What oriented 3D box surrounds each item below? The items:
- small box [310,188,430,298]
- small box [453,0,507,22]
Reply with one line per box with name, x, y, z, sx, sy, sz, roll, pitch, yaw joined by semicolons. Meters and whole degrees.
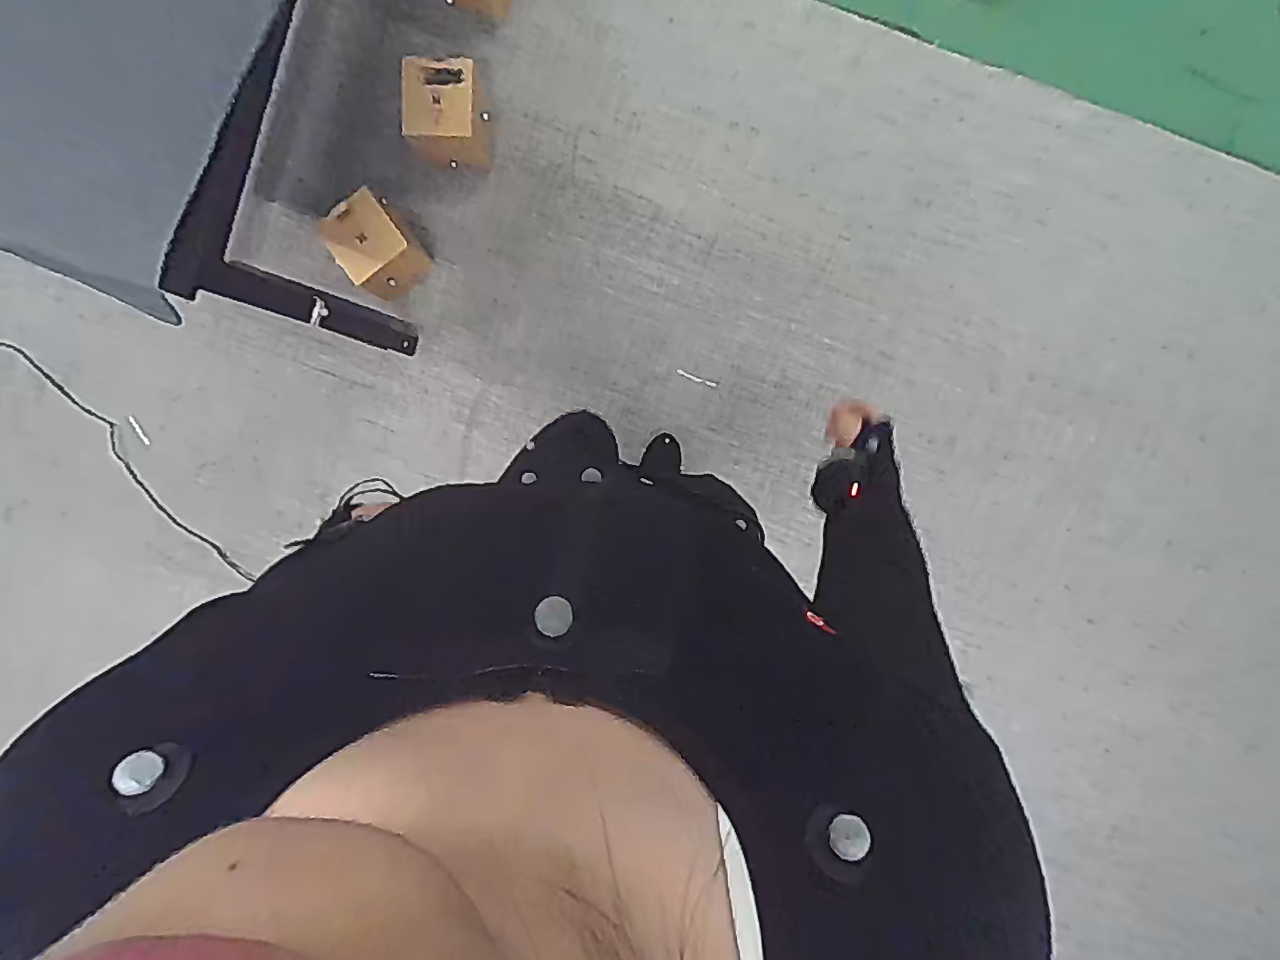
small box;-0.664;-0.579;1.357;0.168;0.176;0.179;-37;93;4
small box;-0.399;-1.263;1.292;0.168;0.176;0.179;26;94;-2
